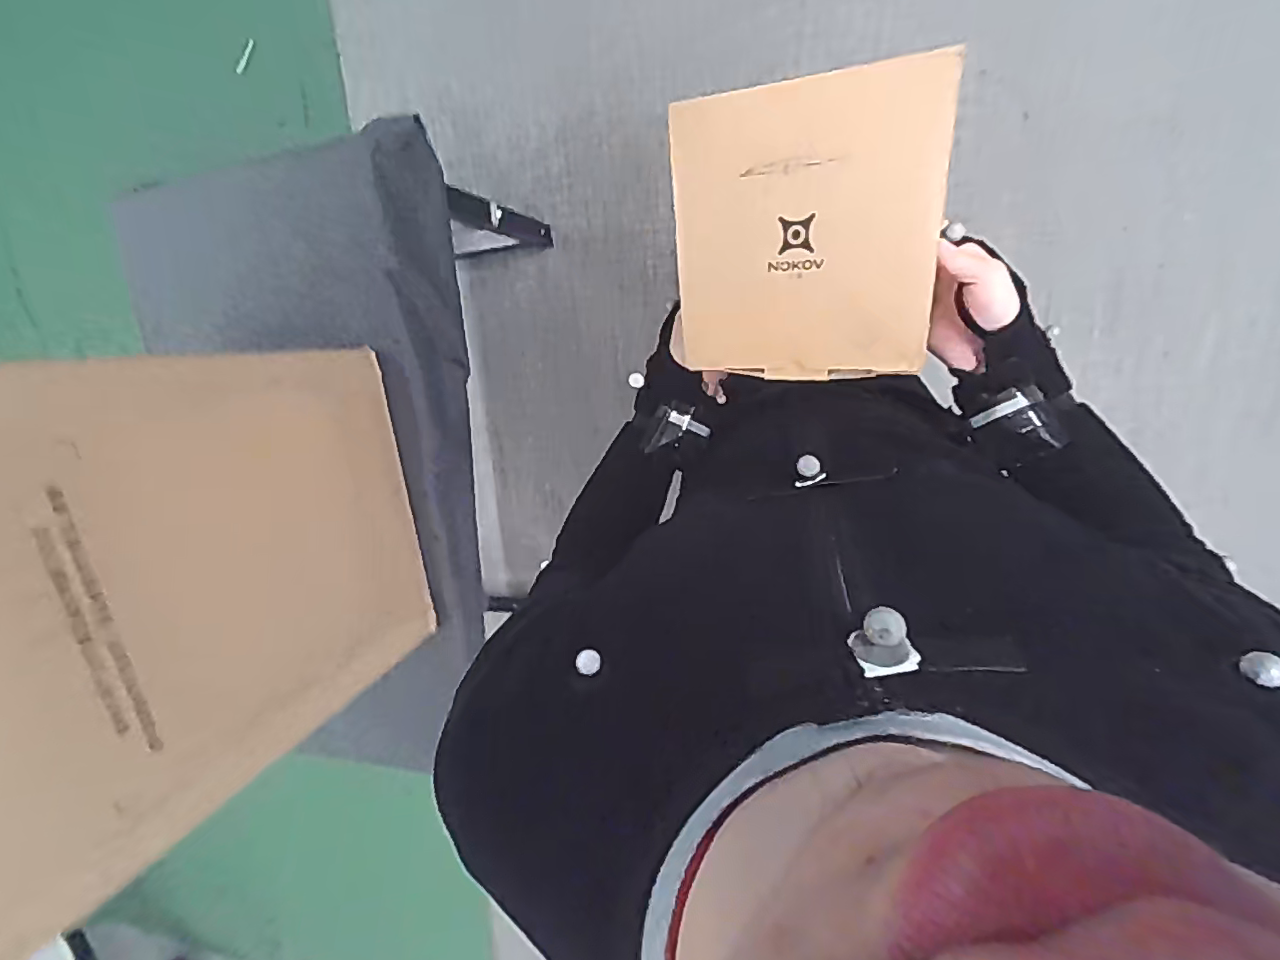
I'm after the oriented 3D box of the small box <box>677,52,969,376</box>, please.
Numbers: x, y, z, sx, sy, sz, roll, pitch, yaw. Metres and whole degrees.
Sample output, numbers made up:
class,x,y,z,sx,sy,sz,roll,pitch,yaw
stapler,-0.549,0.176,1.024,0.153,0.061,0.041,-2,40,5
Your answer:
class,x,y,z,sx,sy,sz,roll,pitch,yaw
small box,0.136,-0.190,0.413,0.168,0.176,0.179,7,118,22
